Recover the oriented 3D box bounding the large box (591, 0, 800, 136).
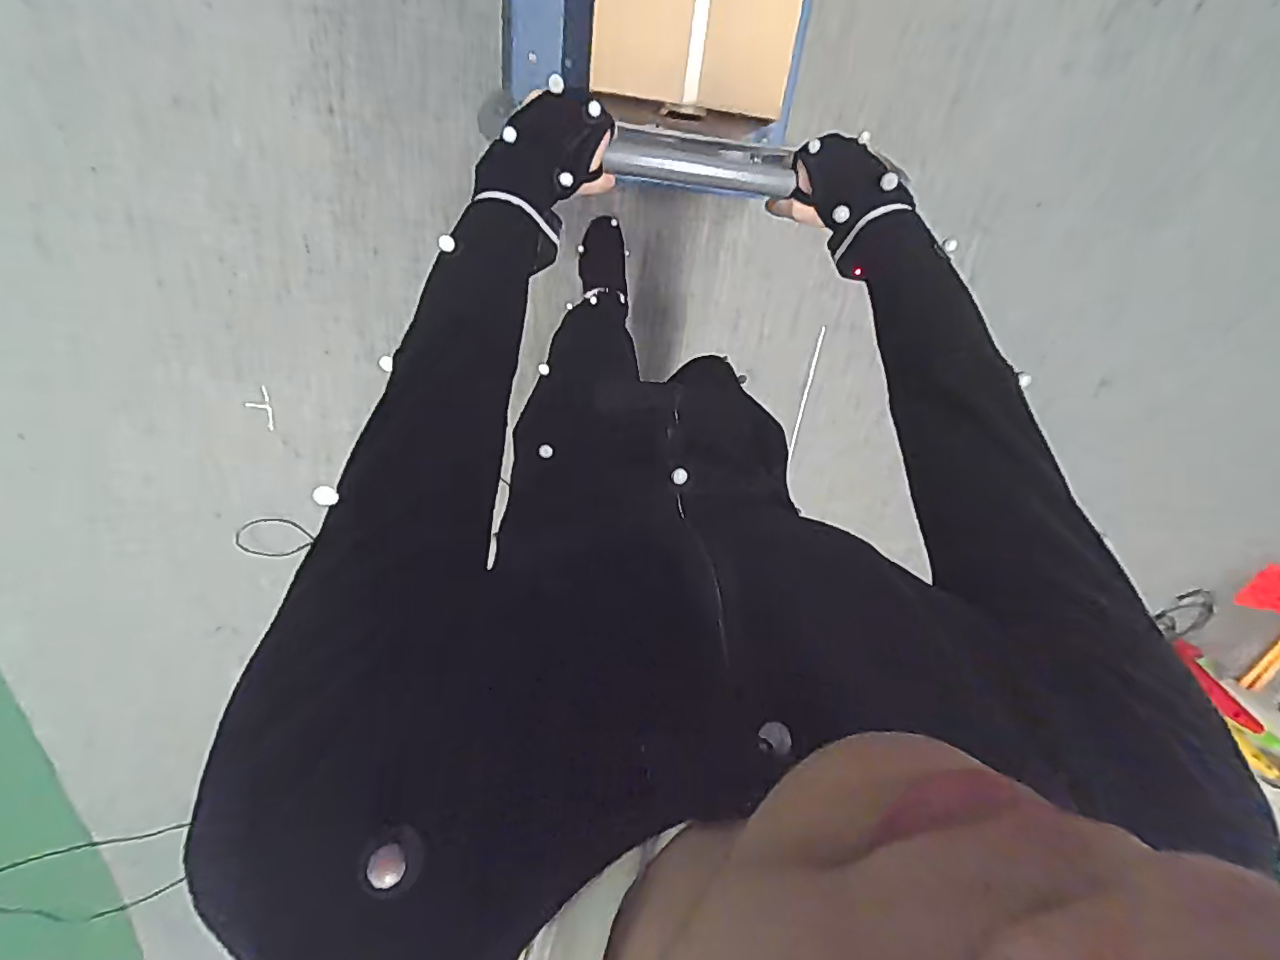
[{"bbox_3d":[0.084,-0.847,0.910,0.320,0.320,0.408,4,115,-8],"label":"large box"}]
